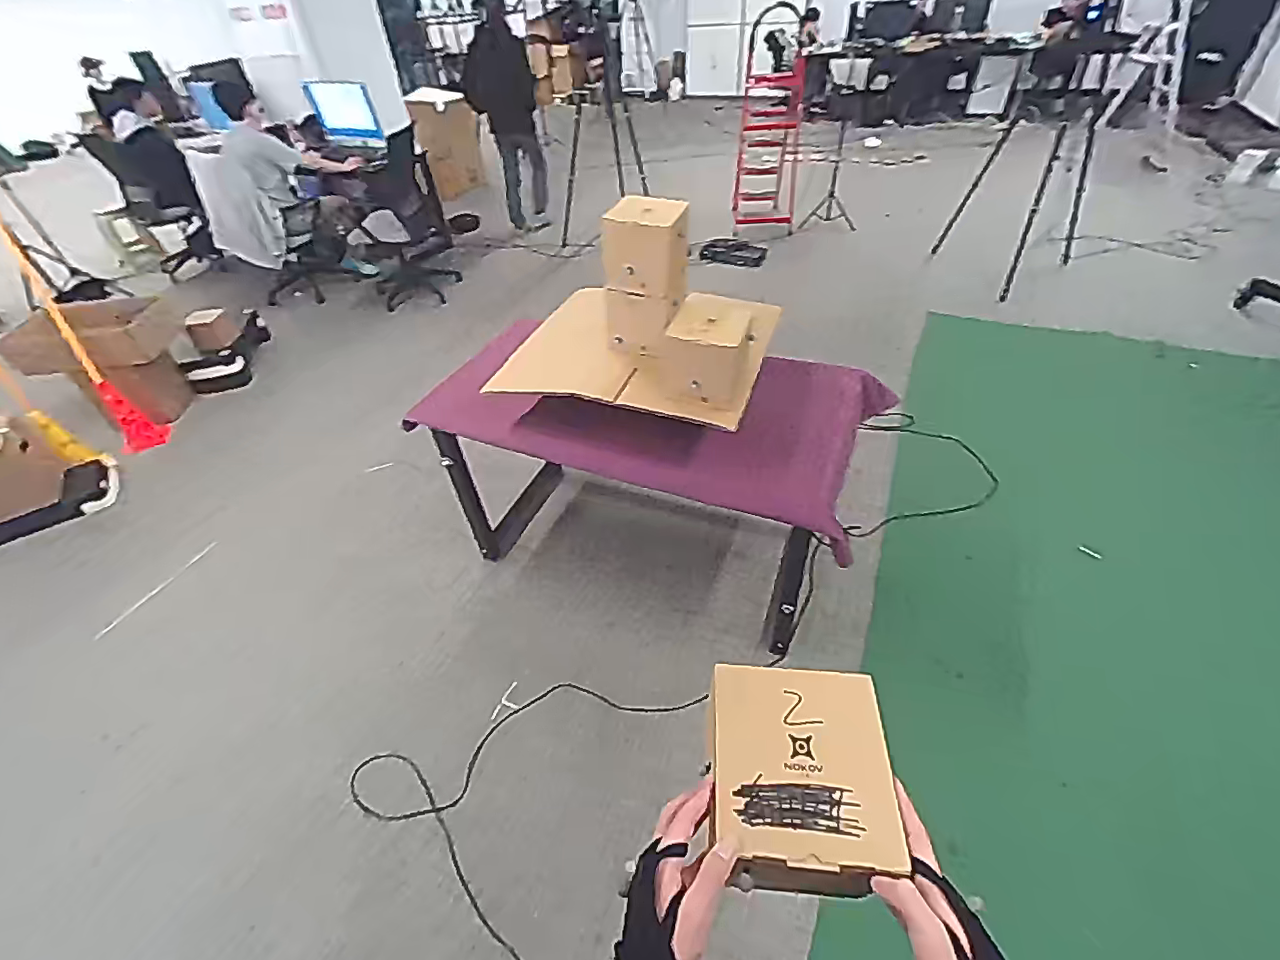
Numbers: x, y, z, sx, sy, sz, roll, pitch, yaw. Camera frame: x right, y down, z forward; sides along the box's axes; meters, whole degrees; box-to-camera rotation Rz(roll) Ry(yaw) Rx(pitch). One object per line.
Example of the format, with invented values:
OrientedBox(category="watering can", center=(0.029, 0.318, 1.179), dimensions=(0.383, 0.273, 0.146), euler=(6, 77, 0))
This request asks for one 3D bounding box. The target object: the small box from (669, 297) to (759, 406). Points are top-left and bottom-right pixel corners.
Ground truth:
OrientedBox(category="small box", center=(0.168, -0.300, 1.263), dimensions=(0.168, 0.176, 0.179), euler=(15, 47, 16))

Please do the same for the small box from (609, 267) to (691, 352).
OrientedBox(category="small box", center=(0.029, -0.458, 1.424), dimensions=(0.168, 0.176, 0.179), euler=(15, 46, 15))

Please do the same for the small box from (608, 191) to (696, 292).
OrientedBox(category="small box", center=(0.029, -0.579, 1.316), dimensions=(0.168, 0.176, 0.179), euler=(14, 48, 14))
